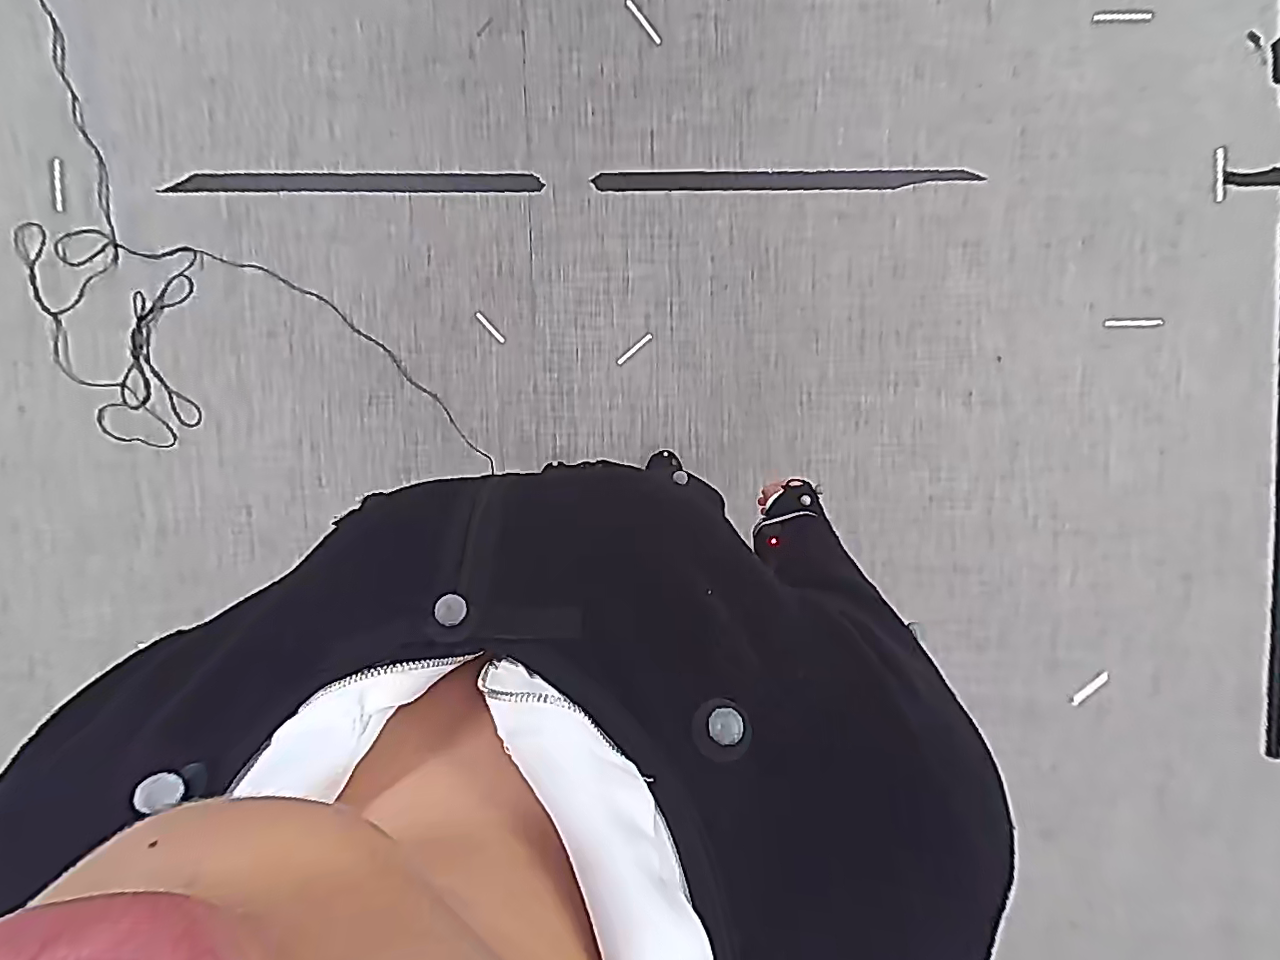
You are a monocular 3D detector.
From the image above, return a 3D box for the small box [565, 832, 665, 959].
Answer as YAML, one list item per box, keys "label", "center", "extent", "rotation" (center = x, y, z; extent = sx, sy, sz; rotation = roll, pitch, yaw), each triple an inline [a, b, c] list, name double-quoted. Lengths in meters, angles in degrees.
- label: "small box"
  center: [-0.039, 0.764, 0.958]
  extent: [0.168, 0.176, 0.179]
  rotation: [-1, 89, 0]
